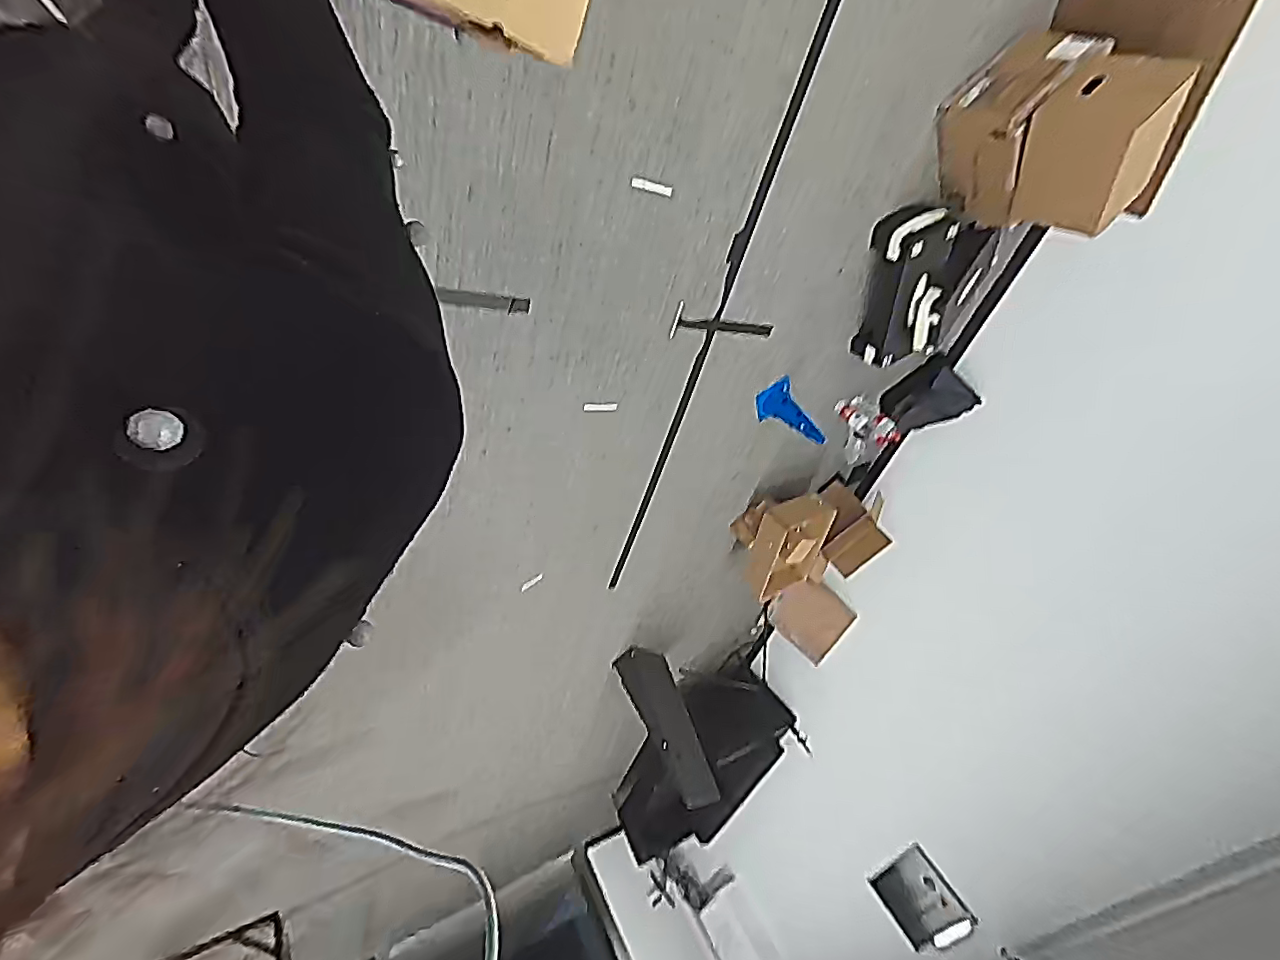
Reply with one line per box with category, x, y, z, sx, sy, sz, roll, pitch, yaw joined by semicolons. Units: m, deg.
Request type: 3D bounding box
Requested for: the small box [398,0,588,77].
small box;-0.150;-0.549;0.539;0.168;0.176;0.179;0;128;-37
